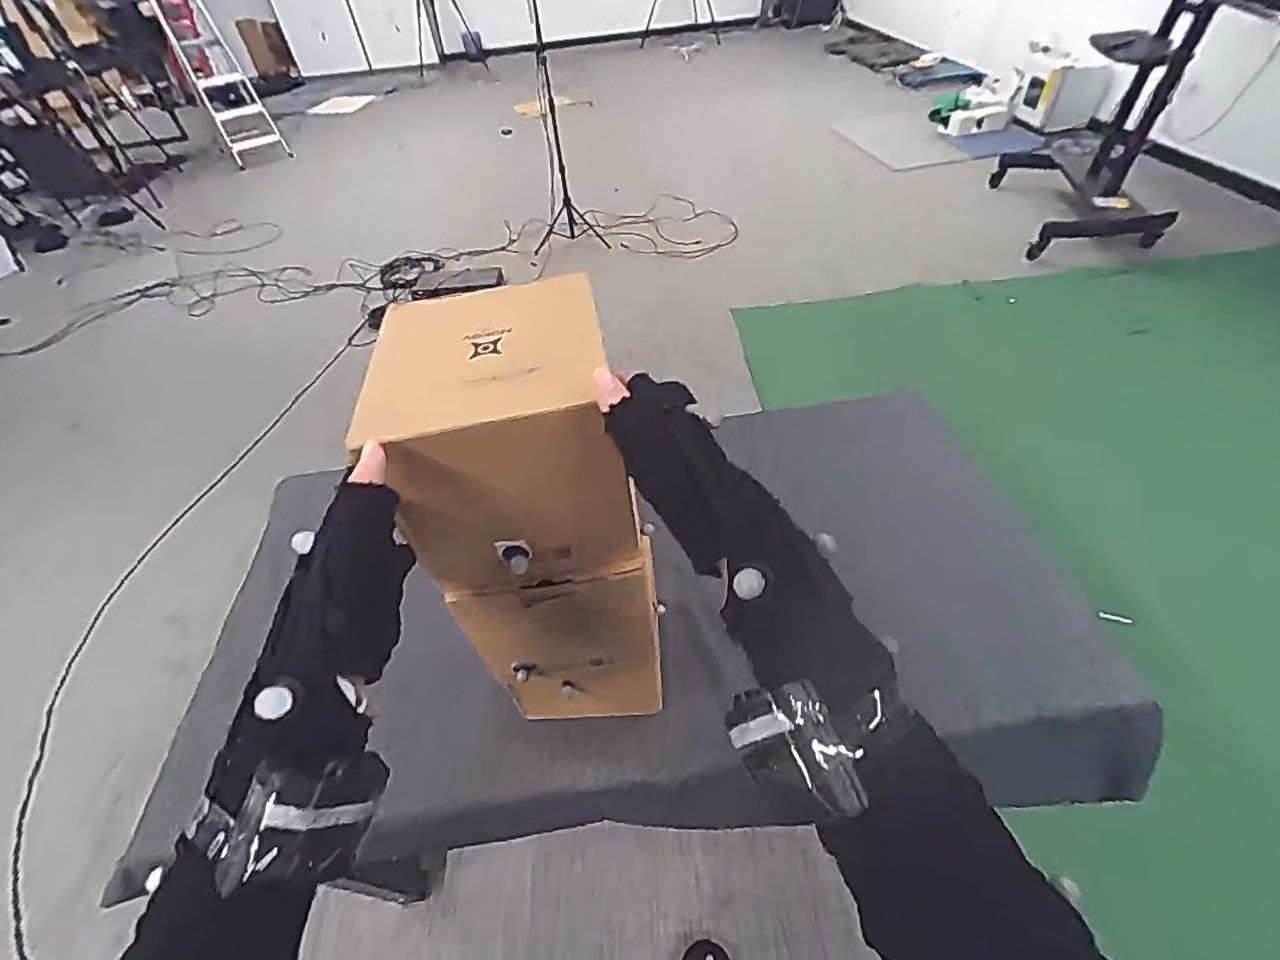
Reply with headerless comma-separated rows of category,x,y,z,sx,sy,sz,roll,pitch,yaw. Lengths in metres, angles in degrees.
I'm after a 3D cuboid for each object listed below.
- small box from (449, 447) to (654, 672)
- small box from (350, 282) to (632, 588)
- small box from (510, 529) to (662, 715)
small box,-0.083,0.081,0.560,0.168,0.176,0.179,-10,48,-3
small box,-0.104,-0.038,0.449,0.168,0.176,0.179,-10,46,-2
small box,-0.069,0.185,0.690,0.179,0.176,0.168,-5,45,0
